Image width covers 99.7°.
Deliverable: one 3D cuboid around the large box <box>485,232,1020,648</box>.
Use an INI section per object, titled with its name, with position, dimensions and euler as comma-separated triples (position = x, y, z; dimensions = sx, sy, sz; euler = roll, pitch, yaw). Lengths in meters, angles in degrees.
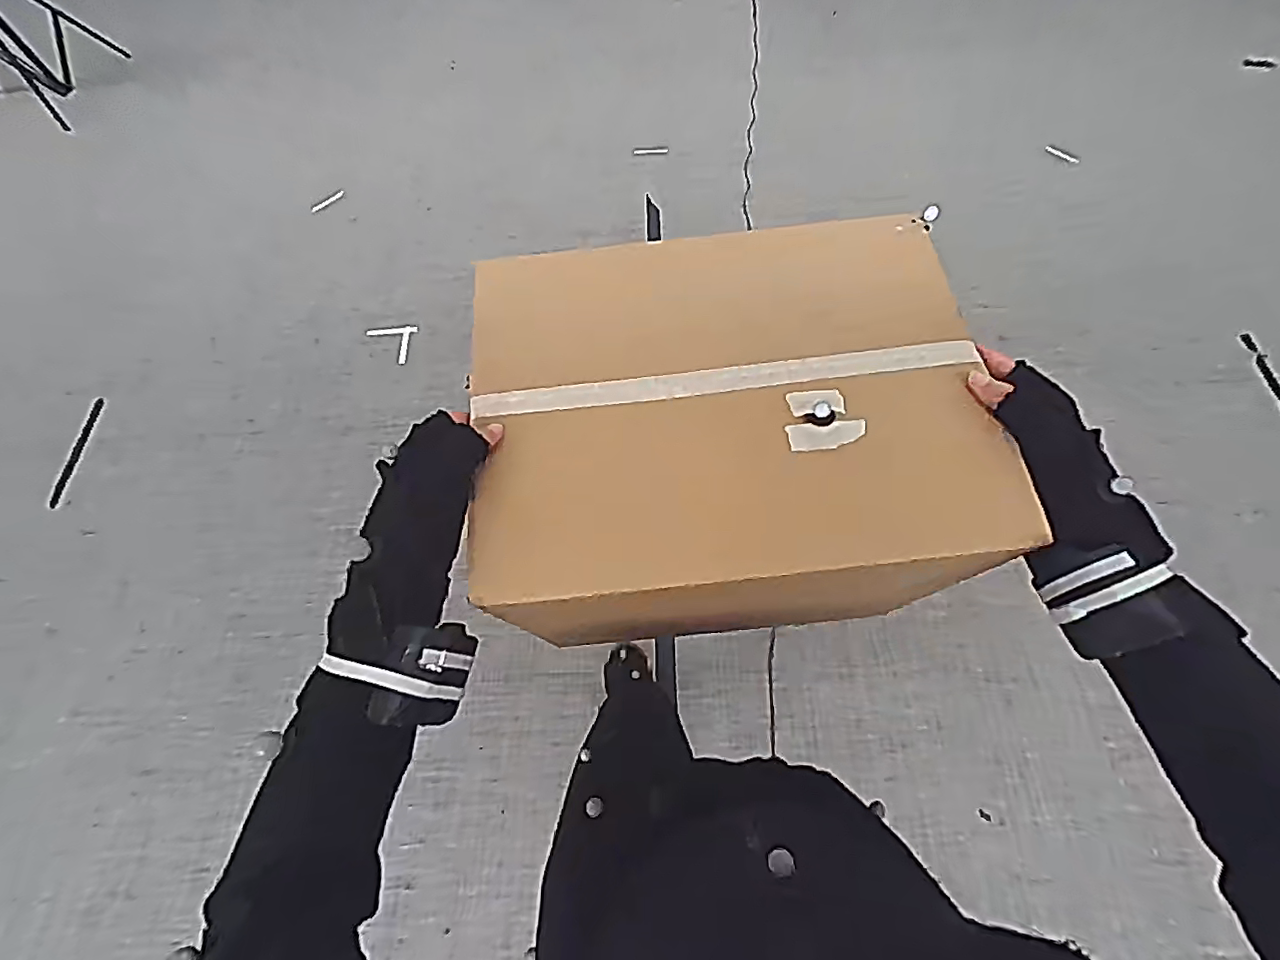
[large box]
position = 0.072, -0.015, 0.589
dimensions = 0.408, 0.320, 0.320
euler = -7, 67, 0
